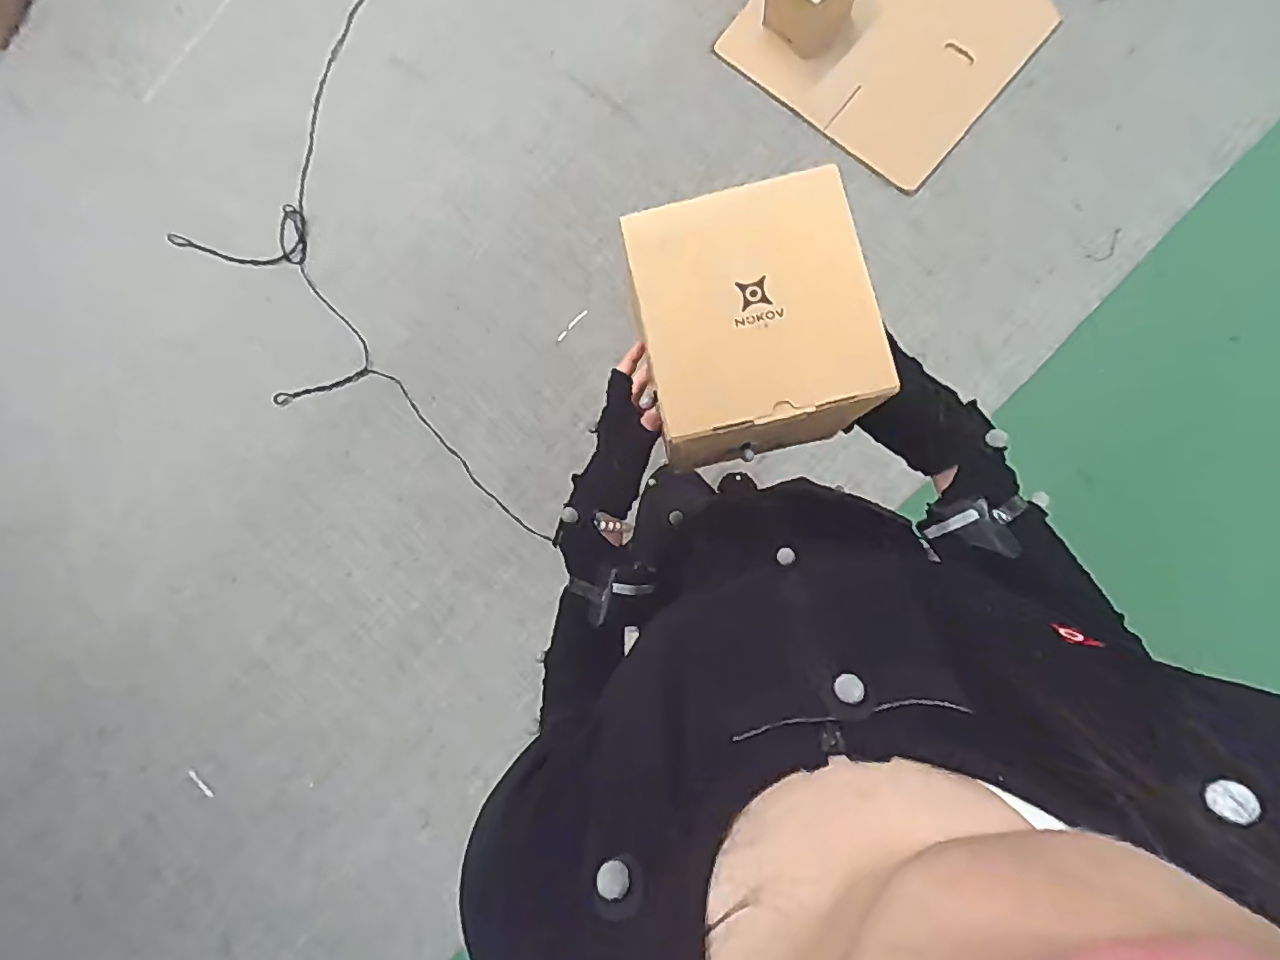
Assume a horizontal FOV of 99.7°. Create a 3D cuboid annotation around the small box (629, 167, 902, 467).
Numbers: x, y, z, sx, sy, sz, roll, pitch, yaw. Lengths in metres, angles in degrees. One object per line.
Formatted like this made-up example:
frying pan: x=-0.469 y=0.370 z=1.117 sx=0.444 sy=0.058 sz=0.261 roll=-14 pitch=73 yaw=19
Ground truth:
small box: x=0.090 y=-0.121 z=0.468 sx=0.168 sy=0.176 sz=0.179 roll=-13 pitch=83 yaw=2
